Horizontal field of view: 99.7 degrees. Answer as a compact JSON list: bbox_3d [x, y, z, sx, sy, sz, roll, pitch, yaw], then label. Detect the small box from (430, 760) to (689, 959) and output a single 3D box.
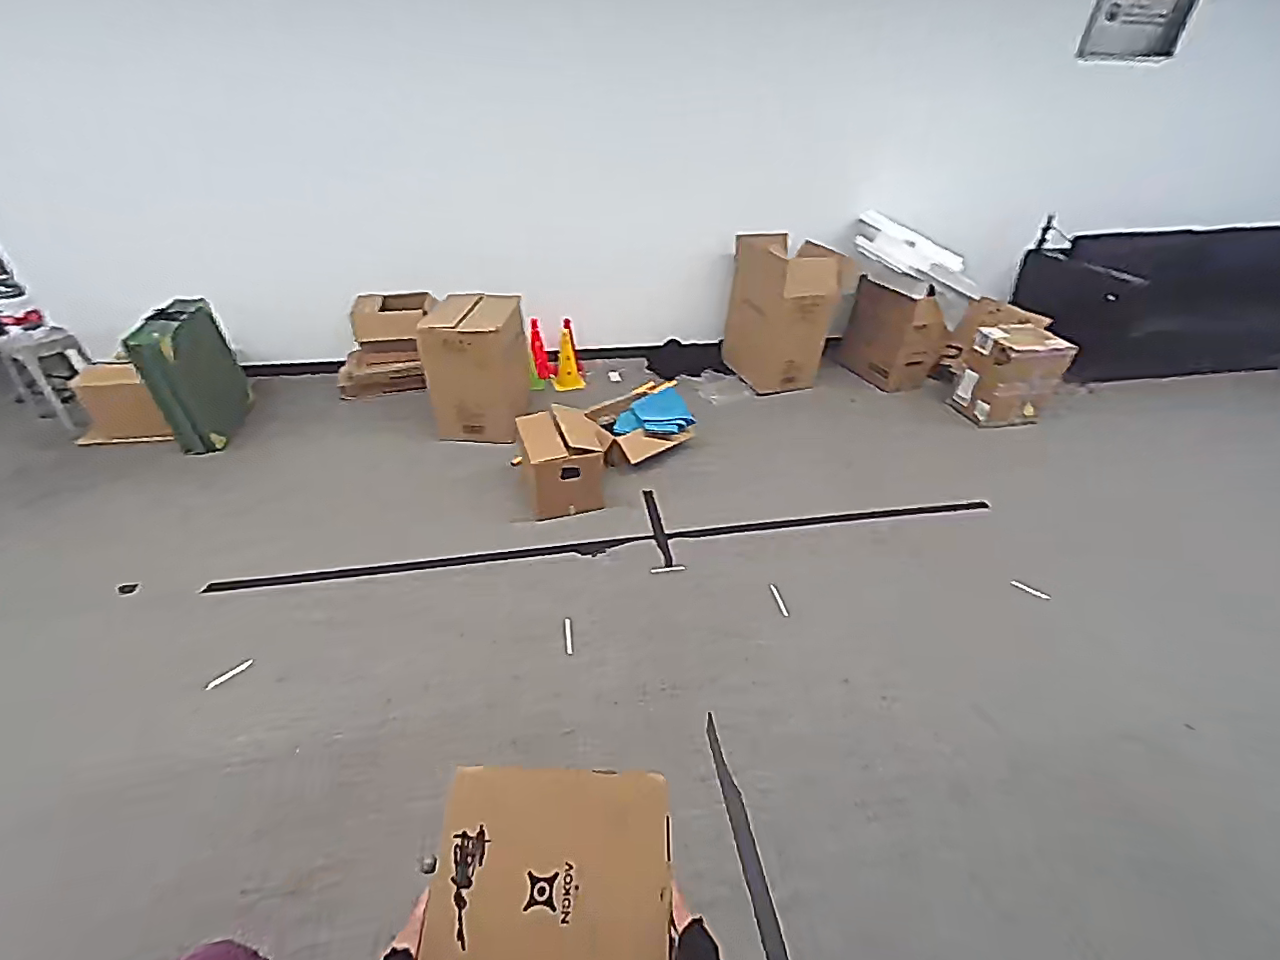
[{"bbox_3d":[-0.064,0.350,0.447,0.179,0.176,0.168,7,46,-5],"label":"small box"}]
